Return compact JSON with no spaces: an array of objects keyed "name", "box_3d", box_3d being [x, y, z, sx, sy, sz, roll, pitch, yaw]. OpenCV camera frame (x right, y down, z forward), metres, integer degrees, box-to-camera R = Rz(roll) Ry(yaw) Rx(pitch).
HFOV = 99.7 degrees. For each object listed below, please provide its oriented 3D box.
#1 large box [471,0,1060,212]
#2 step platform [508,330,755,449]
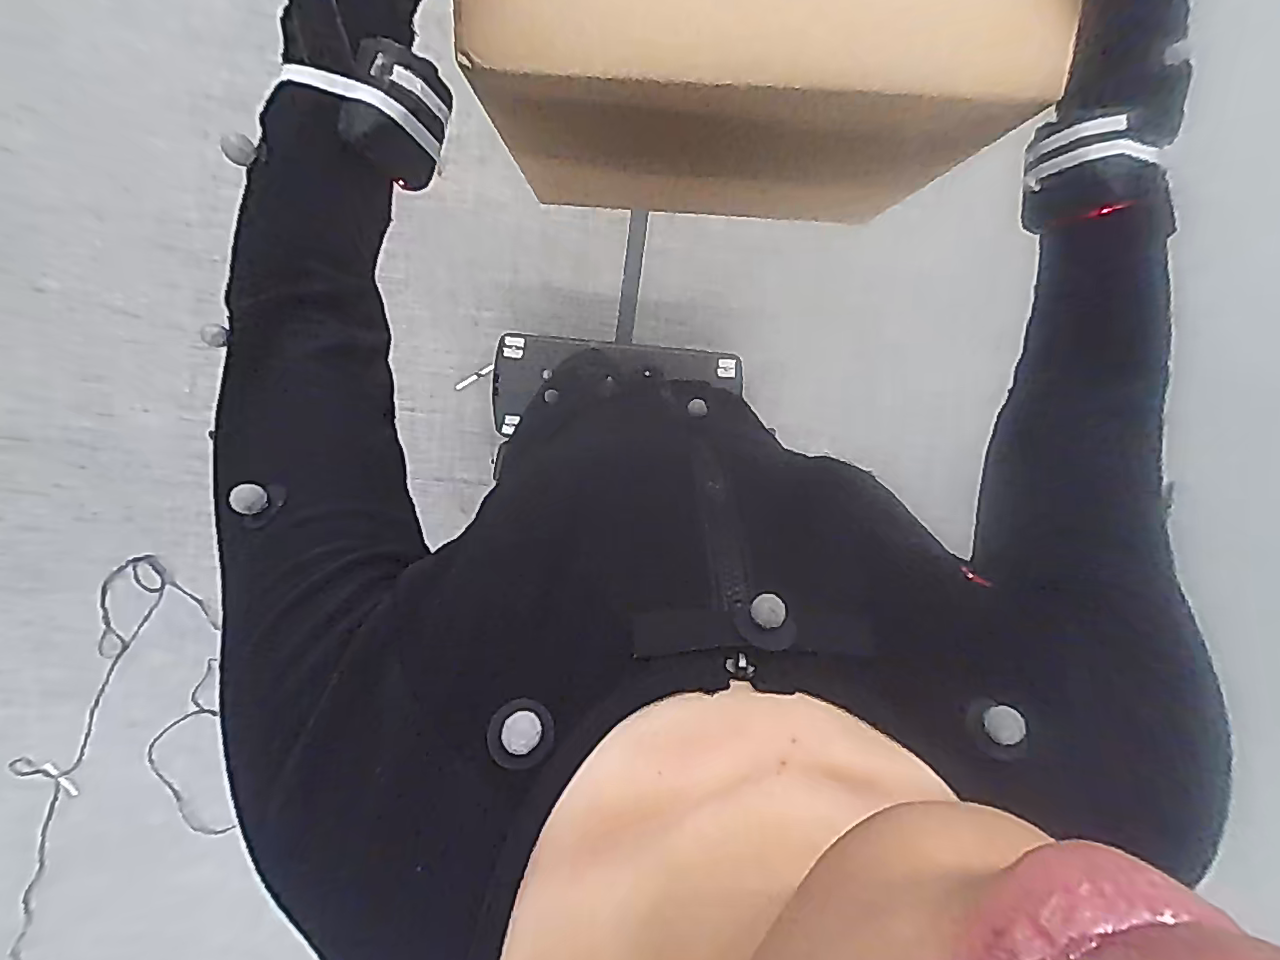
[{"name":"large box","box_3d":[0.084,-0.452,0.486,0.408,0.320,0.320,2,102,-2]},{"name":"step platform","box_3d":[-0.024,-0.252,1.533,0.684,0.204,0.286,4,100,-5]}]
